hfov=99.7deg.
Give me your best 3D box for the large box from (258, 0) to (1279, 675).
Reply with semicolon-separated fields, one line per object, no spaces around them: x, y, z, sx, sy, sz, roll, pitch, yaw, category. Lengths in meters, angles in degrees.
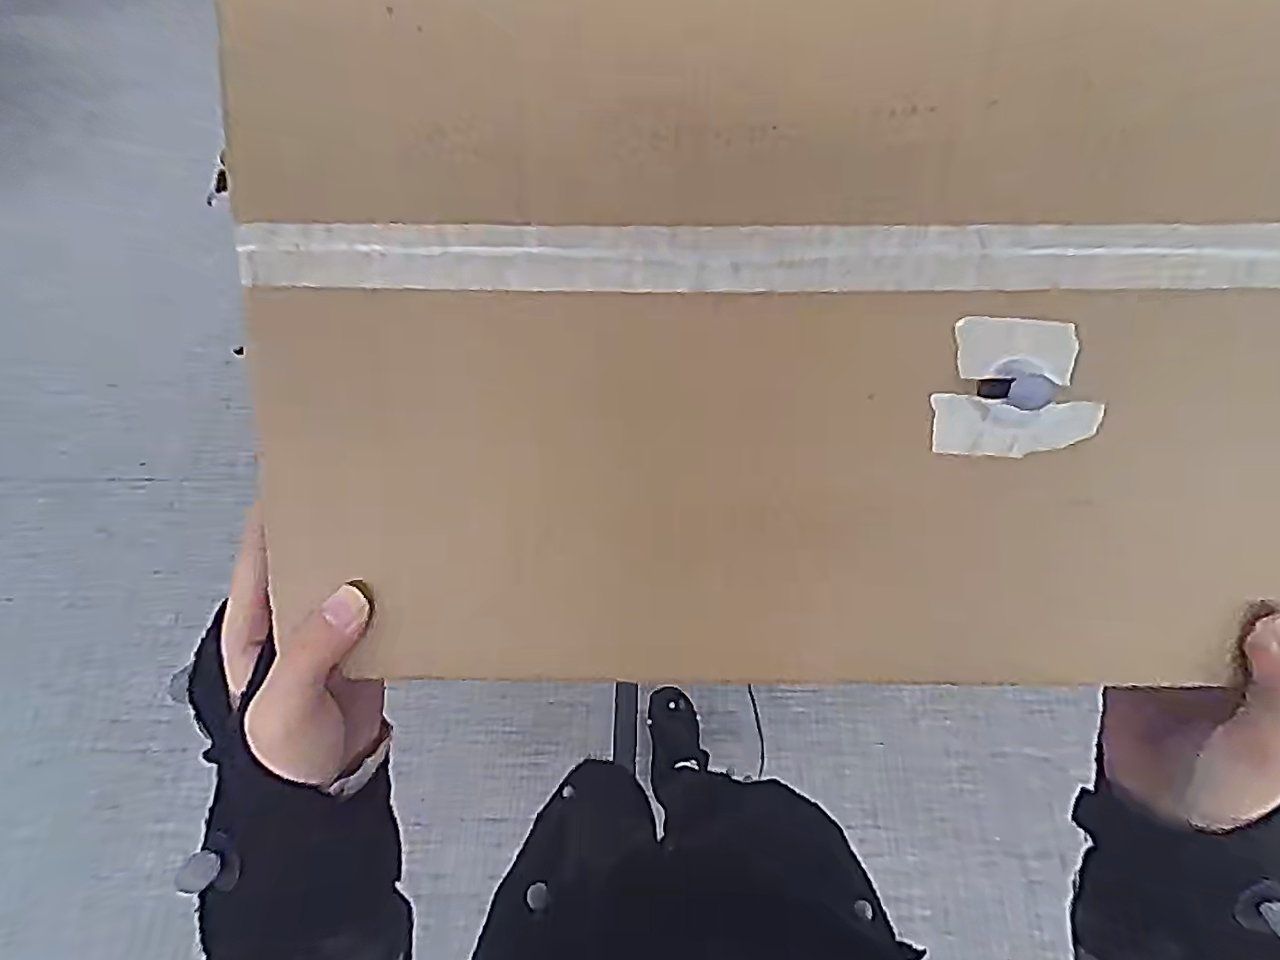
0.062;-0.094;0.348;0.408;0.320;0.320;0;97;-1;large box
